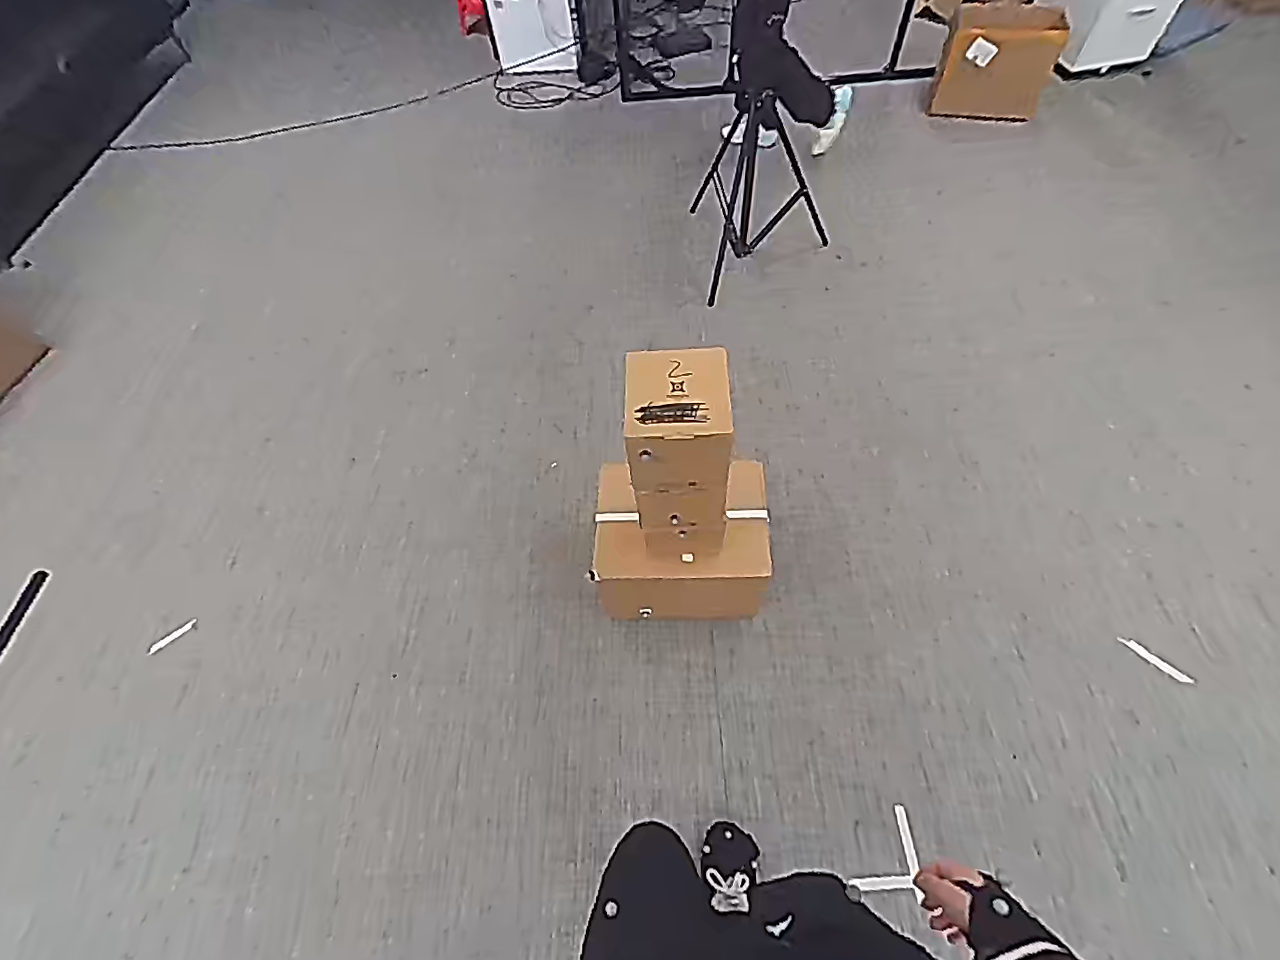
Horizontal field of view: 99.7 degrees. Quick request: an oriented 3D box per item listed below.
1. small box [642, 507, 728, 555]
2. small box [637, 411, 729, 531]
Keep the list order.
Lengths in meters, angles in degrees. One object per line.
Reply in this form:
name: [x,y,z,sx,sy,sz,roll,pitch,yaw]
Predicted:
small box: [0.096,0.061,1.203,0.179,0.176,0.168,-3,60,2]
small box: [0.080,-0.014,1.060,0.168,0.176,0.179,-3,61,3]
